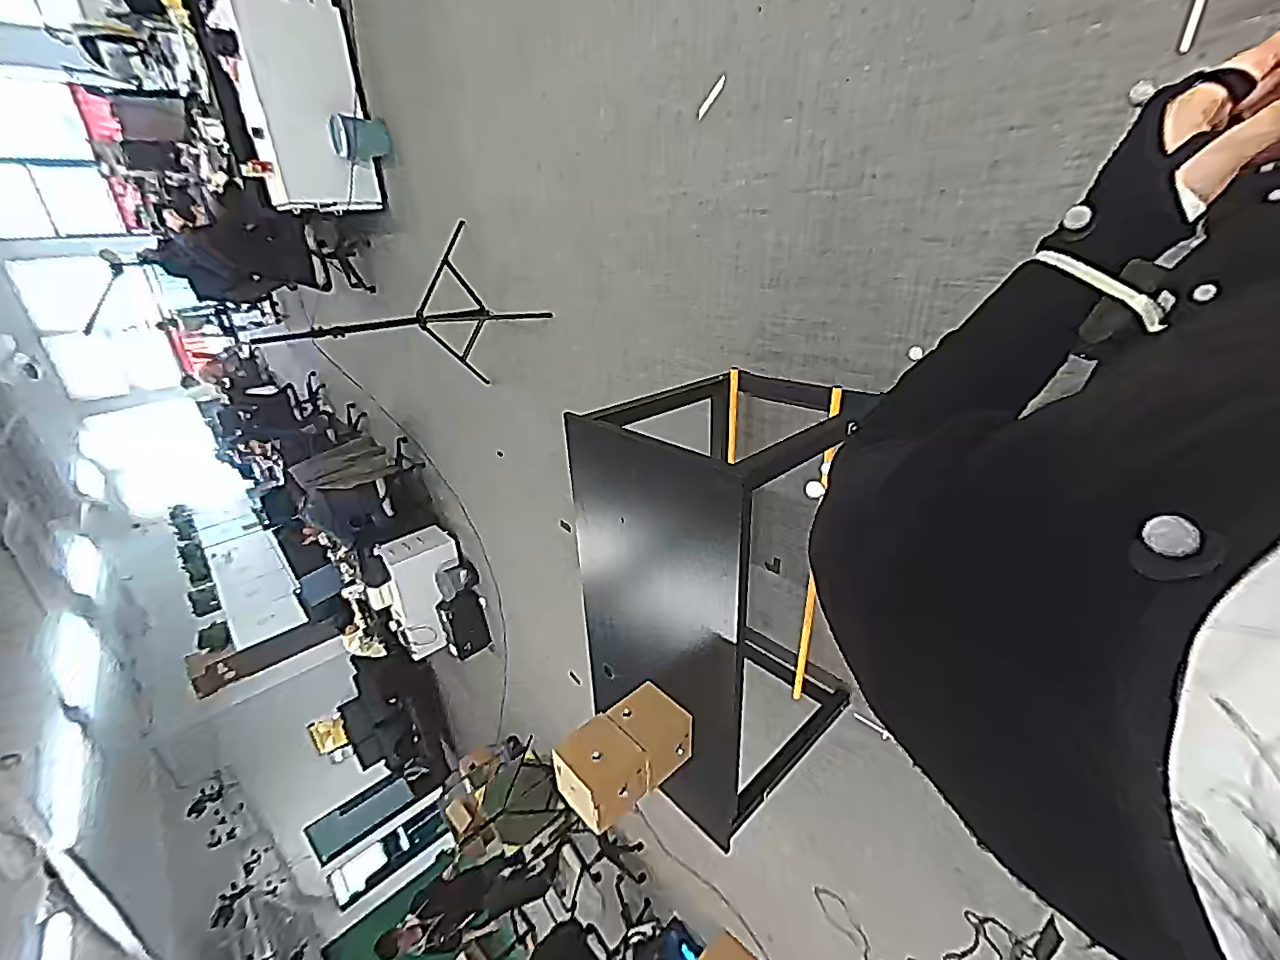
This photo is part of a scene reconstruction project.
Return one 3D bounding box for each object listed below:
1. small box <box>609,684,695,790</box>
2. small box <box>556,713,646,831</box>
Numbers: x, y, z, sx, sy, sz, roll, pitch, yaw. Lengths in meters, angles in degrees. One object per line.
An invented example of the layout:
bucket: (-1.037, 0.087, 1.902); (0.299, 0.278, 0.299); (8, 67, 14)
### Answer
small box: (0.033, 0.702, 1.506); (0.179, 0.176, 0.168); (25, 127, 42)
small box: (-0.095, 0.753, 1.416); (0.179, 0.176, 0.168); (22, 124, 44)
